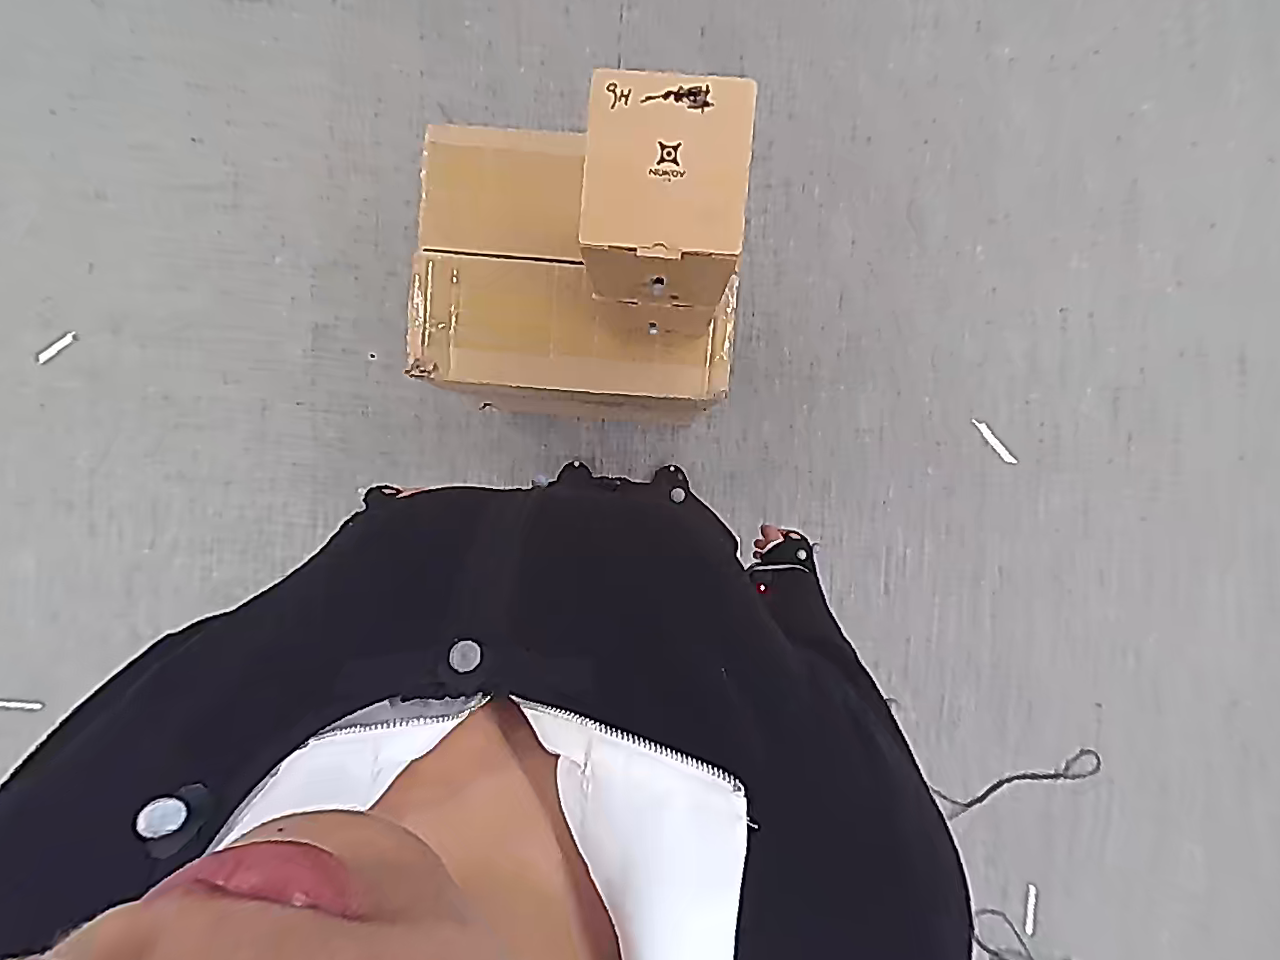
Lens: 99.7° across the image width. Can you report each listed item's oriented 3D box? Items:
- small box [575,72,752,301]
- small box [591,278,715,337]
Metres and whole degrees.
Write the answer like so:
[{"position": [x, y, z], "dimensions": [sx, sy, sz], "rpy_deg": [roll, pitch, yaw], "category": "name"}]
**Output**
[{"position": [0.025, -0.316, 0.619], "dimensions": [0.168, 0.176, 0.179], "rpy_deg": [5, 93, 1], "category": "small box"}, {"position": [0.024, -0.318, 0.783], "dimensions": [0.168, 0.176, 0.179], "rpy_deg": [4, 92, 1], "category": "small box"}]
